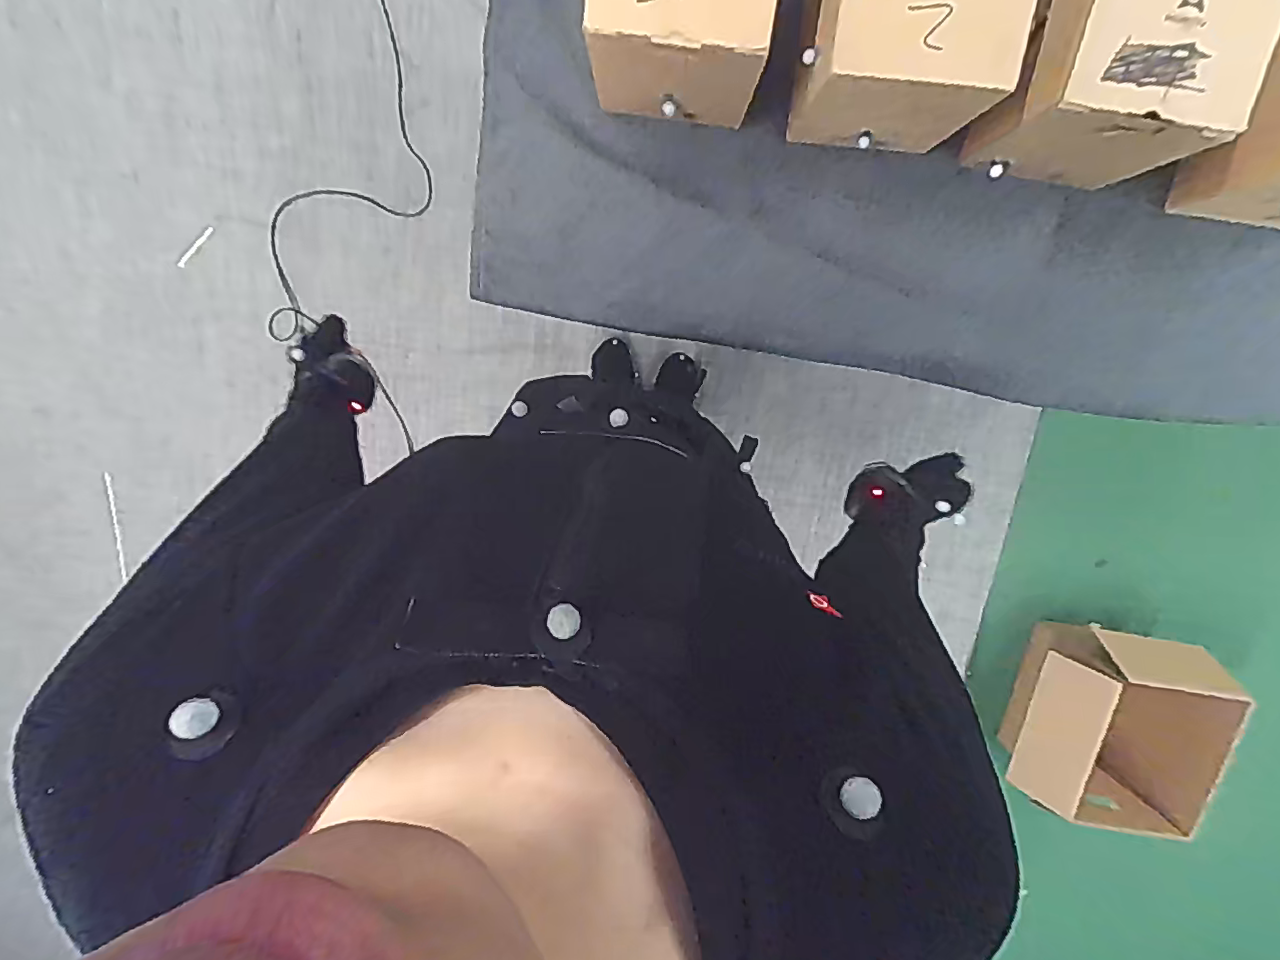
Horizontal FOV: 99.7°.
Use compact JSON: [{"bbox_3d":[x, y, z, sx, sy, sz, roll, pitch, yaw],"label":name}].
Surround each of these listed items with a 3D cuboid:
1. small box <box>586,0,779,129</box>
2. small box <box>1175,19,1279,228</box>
[{"bbox_3d":[0.045,-0.482,0.528,0.168,0.176,0.179,7,104,0],"label":"small box"},{"bbox_3d":[0.707,-0.364,0.539,0.168,0.176,0.179,8,104,0],"label":"small box"}]
